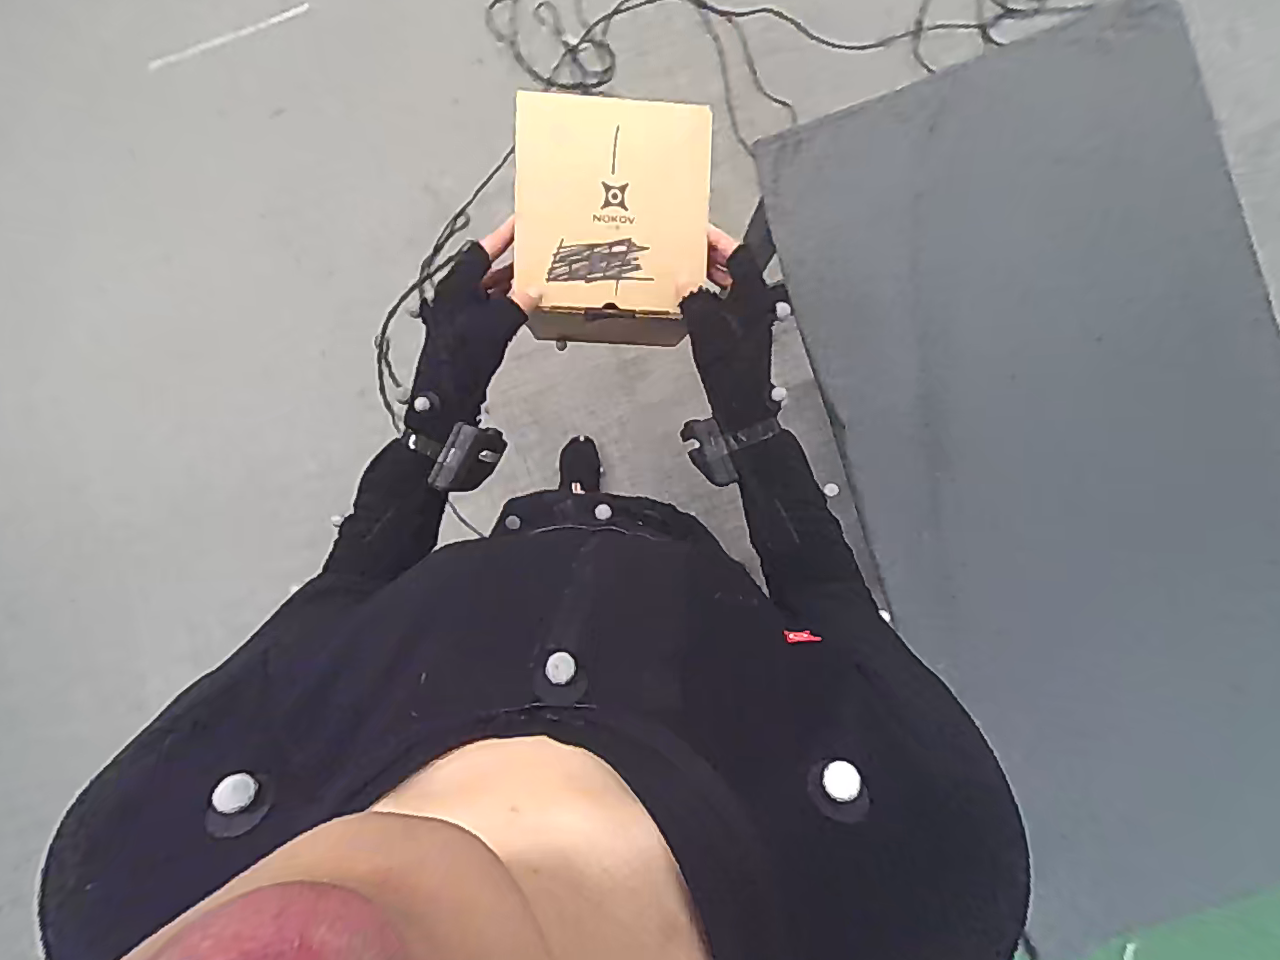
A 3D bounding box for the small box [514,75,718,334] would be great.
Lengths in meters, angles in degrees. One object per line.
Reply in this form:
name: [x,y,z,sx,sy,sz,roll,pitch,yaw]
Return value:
small box: [-0.026,-0.246,0.532,0.168,0.176,0.179,2,95,-5]
